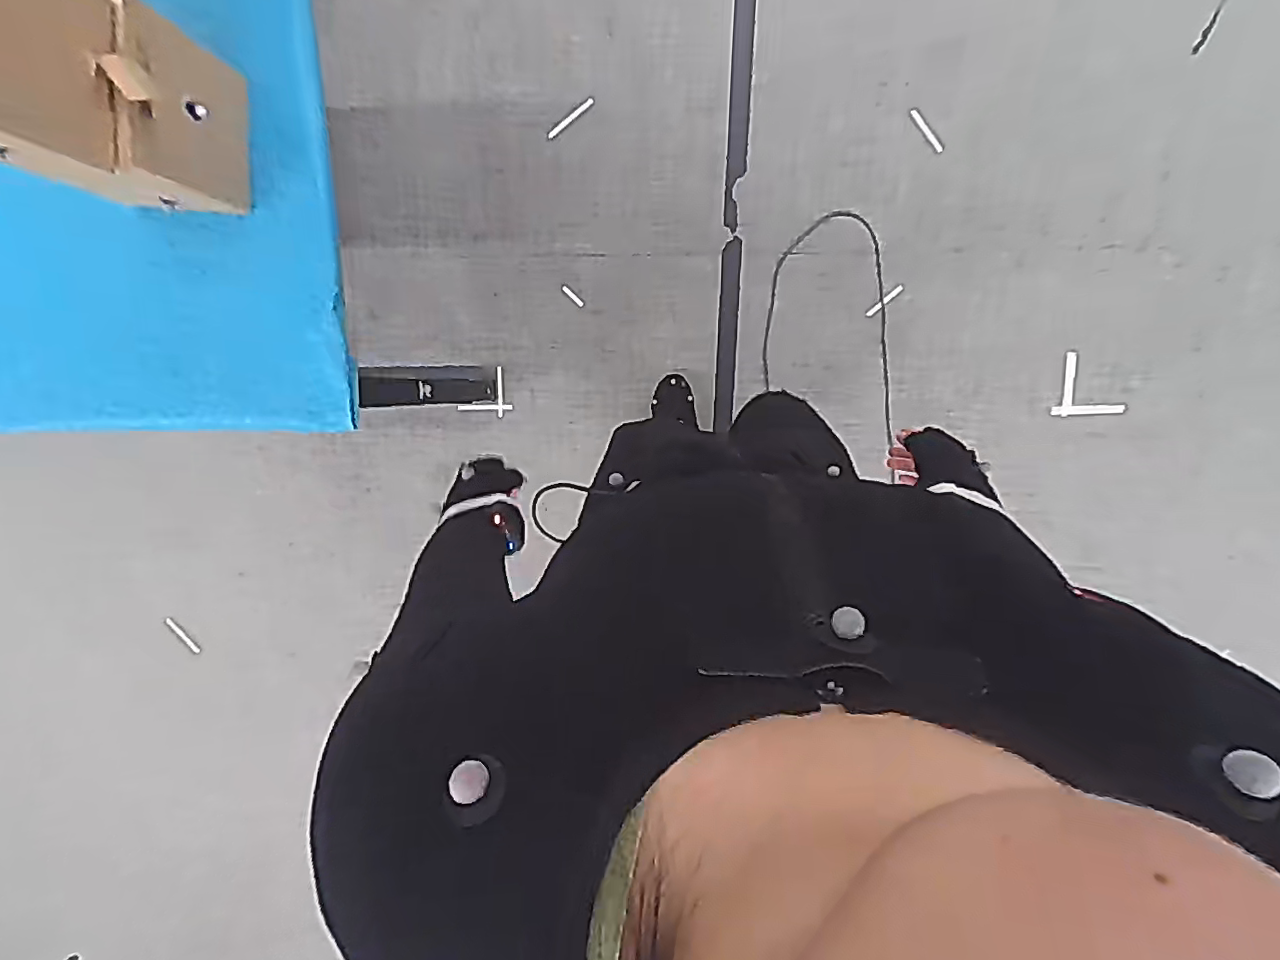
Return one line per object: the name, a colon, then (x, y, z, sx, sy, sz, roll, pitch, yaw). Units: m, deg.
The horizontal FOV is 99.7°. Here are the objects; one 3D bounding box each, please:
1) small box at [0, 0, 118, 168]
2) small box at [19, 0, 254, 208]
small box: (-0.616, -0.397, 0.465, 0.179, 0.176, 0.168, 9, 100, 1)
small box: (-0.594, -0.432, 0.625, 0.179, 0.176, 0.168, 6, 100, 2)
